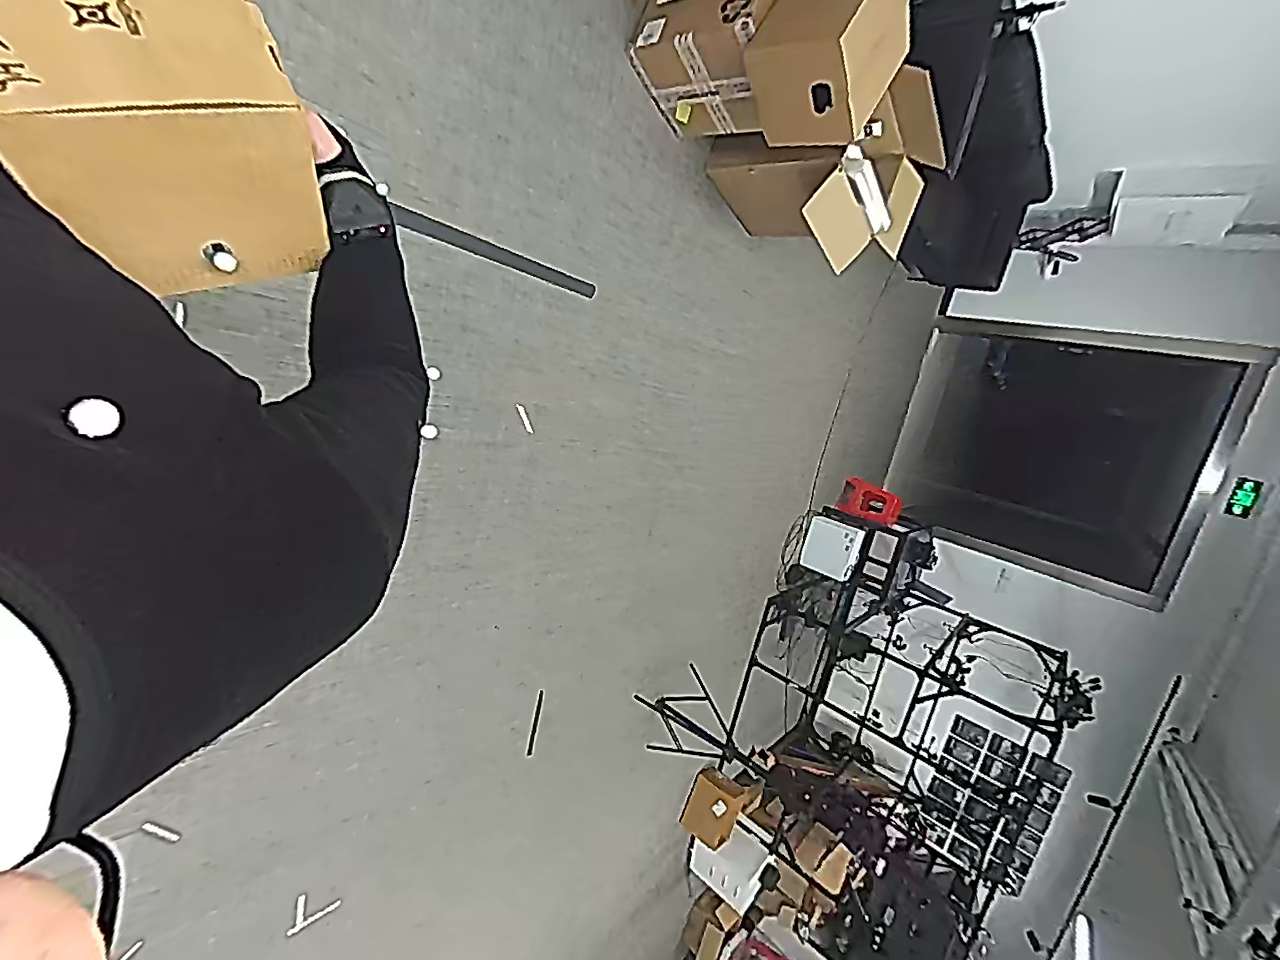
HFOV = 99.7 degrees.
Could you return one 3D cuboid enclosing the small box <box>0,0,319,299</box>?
[{"bbox_3d":[-0.389,-0.279,0.447,0.179,0.168,0.176,-25,169,-29],"label":"small box"}]
